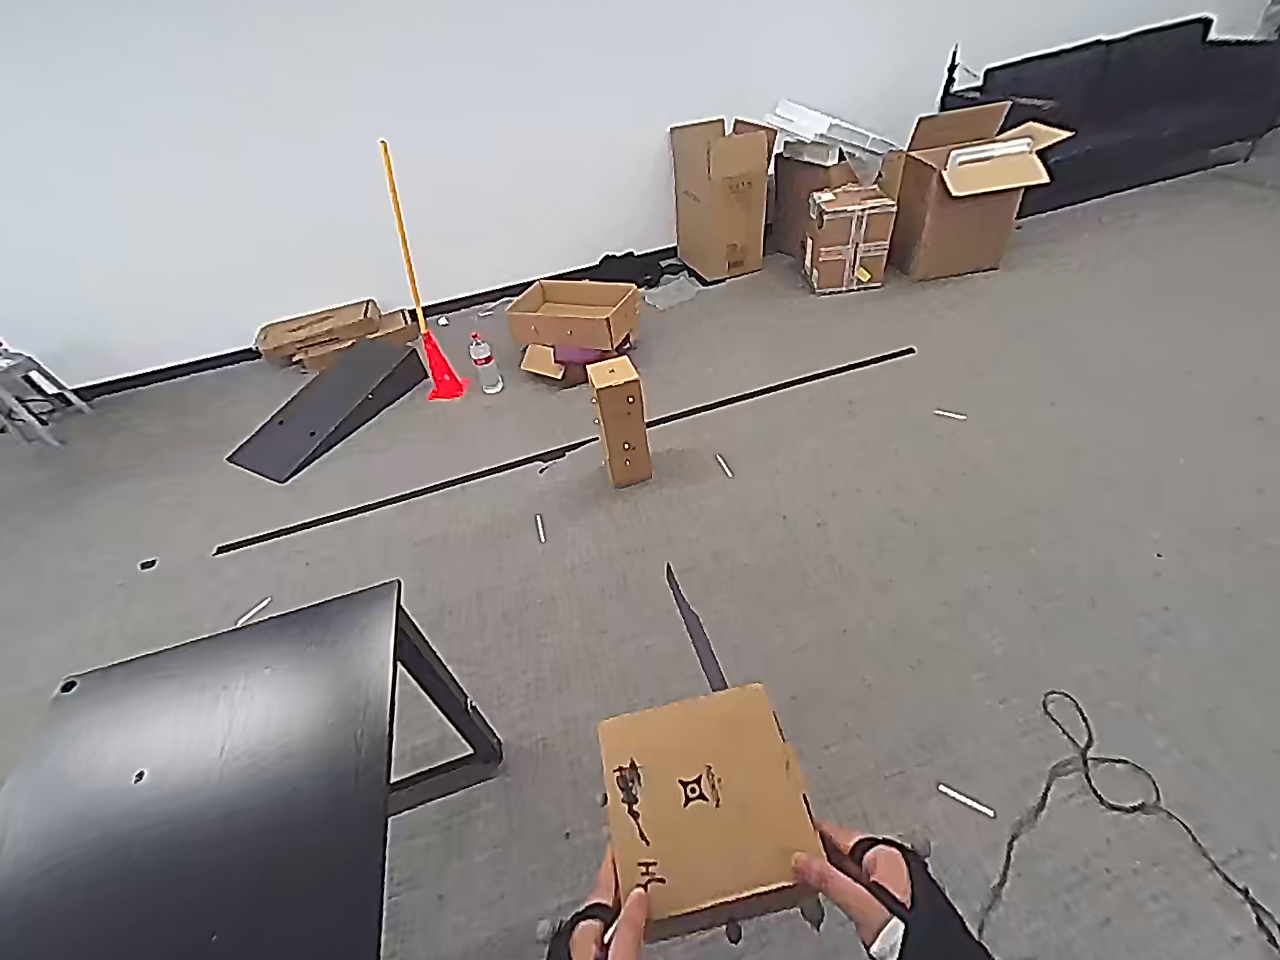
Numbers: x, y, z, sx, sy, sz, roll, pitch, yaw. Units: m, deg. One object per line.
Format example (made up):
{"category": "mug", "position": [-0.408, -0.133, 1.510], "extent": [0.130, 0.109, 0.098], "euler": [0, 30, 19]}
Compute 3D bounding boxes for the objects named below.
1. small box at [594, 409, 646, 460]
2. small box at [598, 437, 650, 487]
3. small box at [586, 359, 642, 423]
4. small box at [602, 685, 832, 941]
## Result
{"category": "small box", "position": [-0.080, -0.209, 2.158], "extent": [0.168, 0.176, 0.179], "euler": [-16, 43, -8]}
{"category": "small box", "position": [-0.066, -0.092, 2.272], "extent": [0.179, 0.176, 0.168], "euler": [-15, 43, -8]}
{"category": "small box", "position": [-0.097, -0.330, 2.050], "extent": [0.168, 0.176, 0.179], "euler": [-16, 42, -9]}
{"category": "small box", "position": [0.066, 0.335, 0.545], "extent": [0.179, 0.176, 0.168], "euler": [-11, 44, -3]}
